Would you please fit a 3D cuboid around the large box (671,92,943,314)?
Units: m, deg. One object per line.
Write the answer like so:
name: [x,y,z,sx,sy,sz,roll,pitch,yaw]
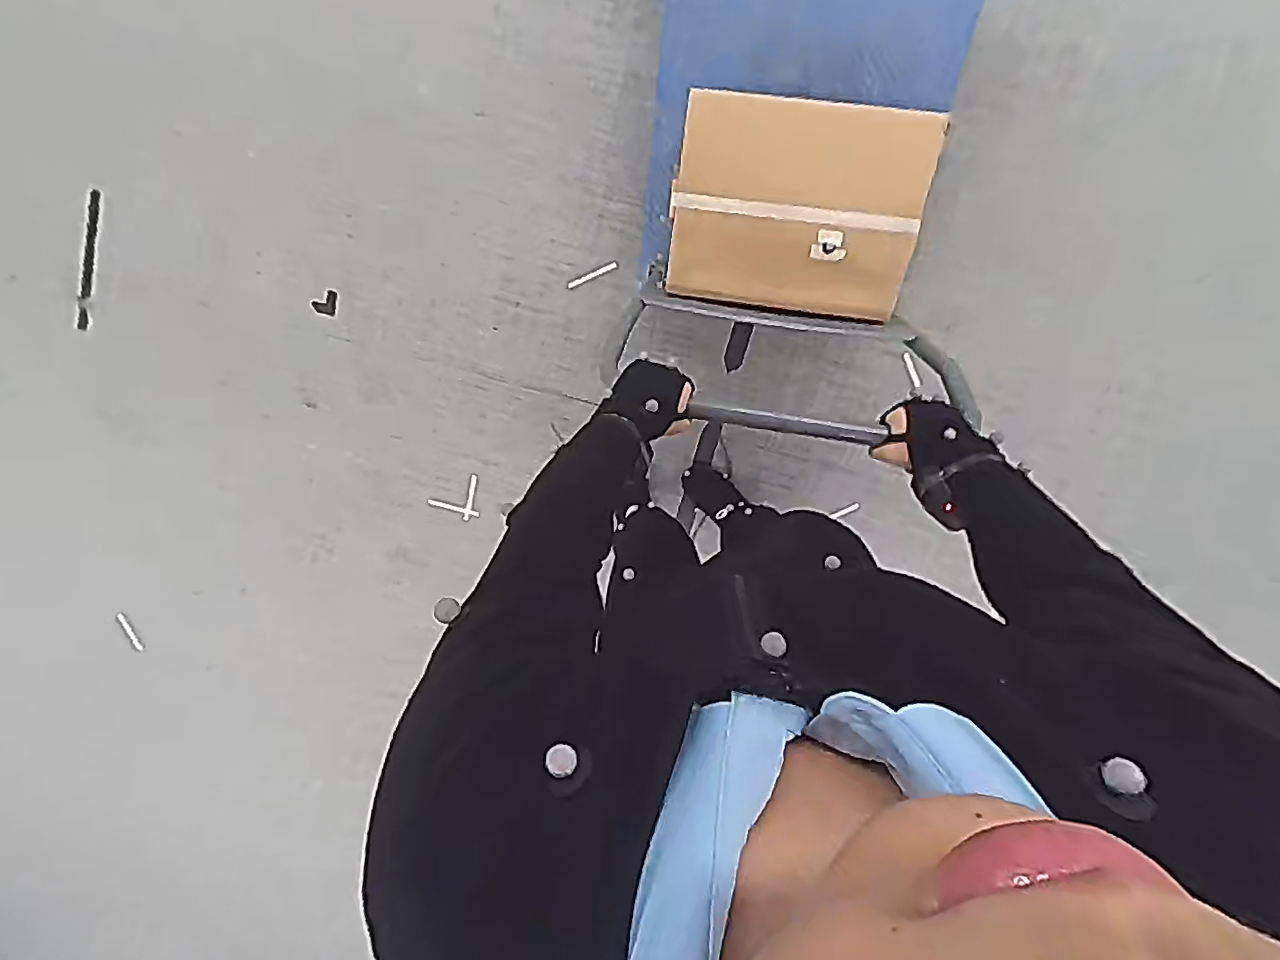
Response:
large box: [0.281,-0.522,1.055,0.408,0.320,0.320,8,117,4]
